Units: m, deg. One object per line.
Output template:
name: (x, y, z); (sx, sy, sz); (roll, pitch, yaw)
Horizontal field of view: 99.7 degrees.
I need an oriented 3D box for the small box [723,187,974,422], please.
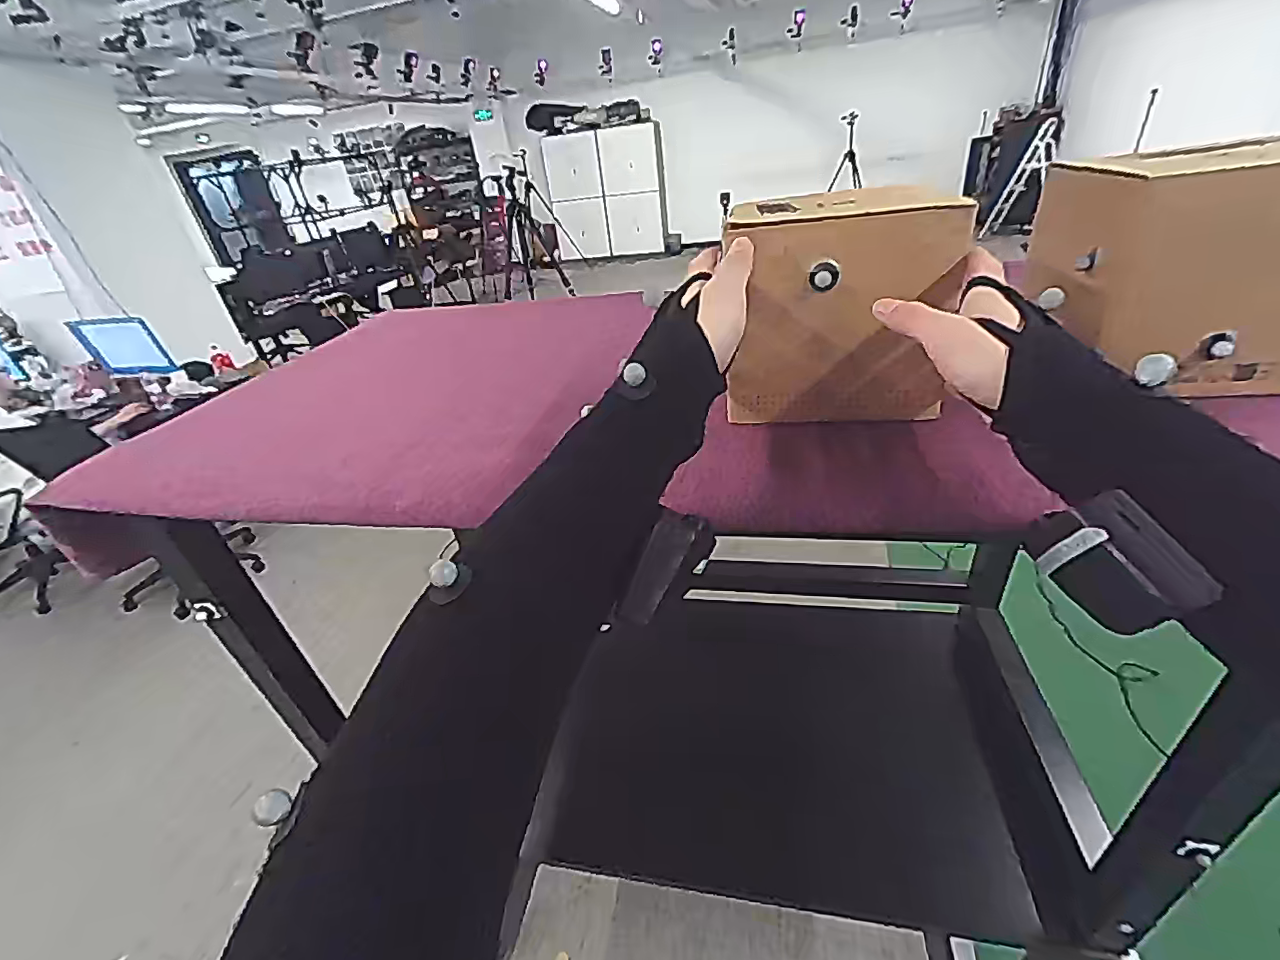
small box: (0.173, -0.160, 0.496); (0.179, 0.176, 0.168); (0, 32, 13)
